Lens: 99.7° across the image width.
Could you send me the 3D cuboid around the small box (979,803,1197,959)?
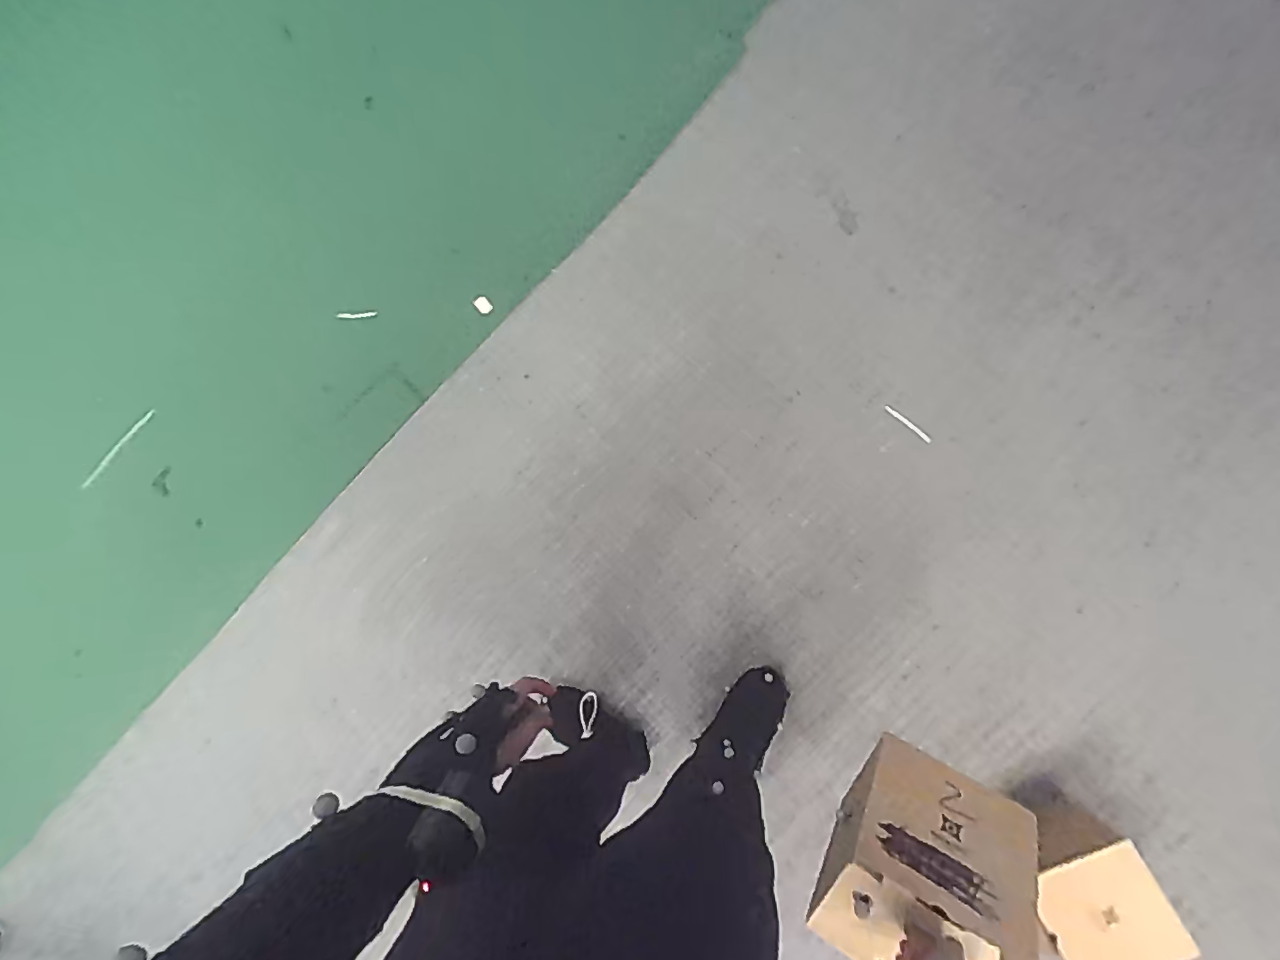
[{"bbox_3d":[0.698,0.660,0.871,0.179,0.176,0.168,-28,77,7],"label":"small box"}]
